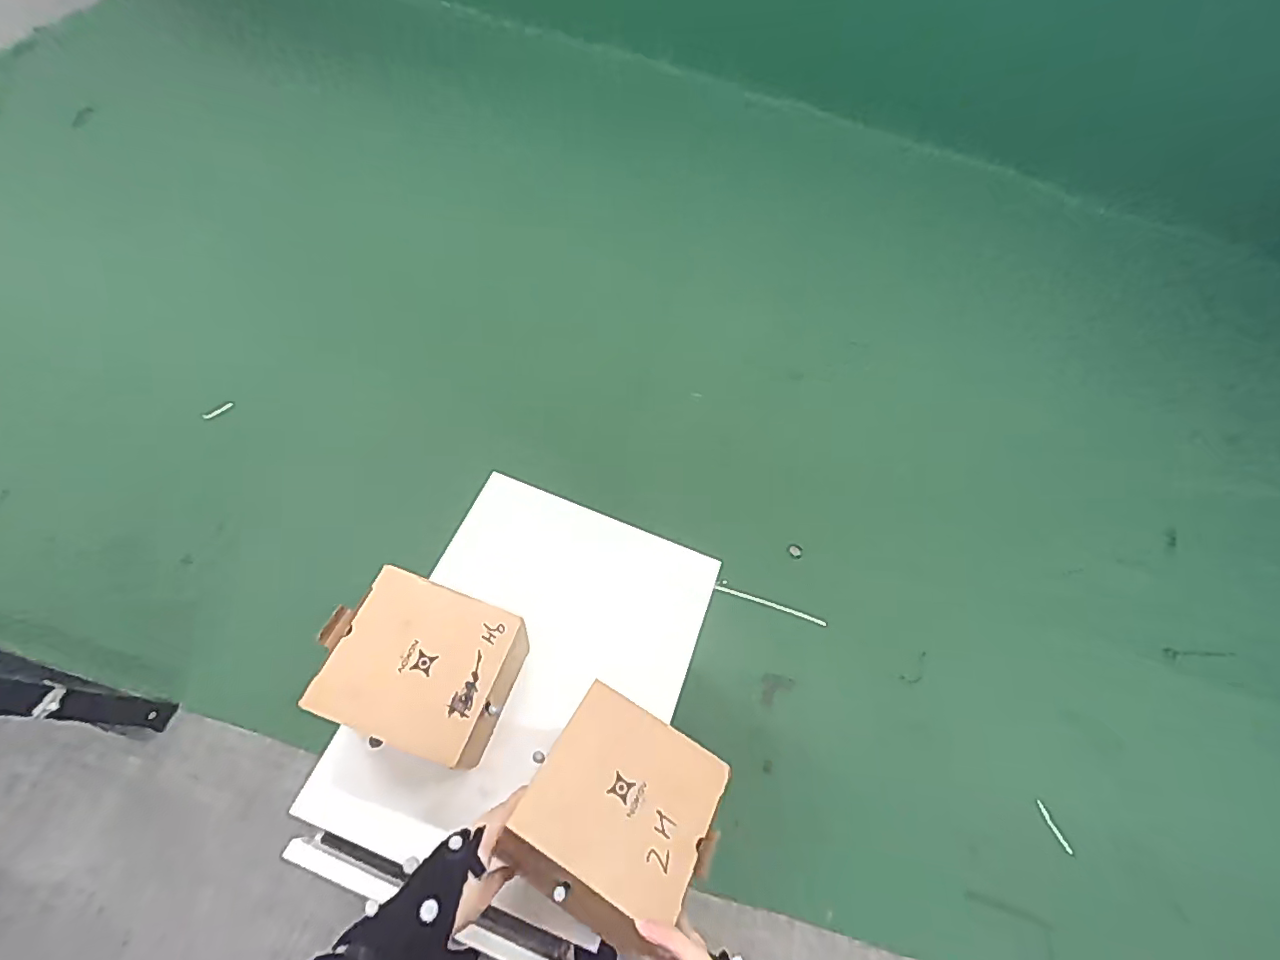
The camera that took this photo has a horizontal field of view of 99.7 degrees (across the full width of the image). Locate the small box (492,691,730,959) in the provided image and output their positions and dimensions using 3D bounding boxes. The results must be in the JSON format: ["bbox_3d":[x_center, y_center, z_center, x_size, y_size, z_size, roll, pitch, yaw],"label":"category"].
[{"bbox_3d":[-0.037,0.366,0.571,0.179,0.176,0.168,31,46,8],"label":"small box"}]
